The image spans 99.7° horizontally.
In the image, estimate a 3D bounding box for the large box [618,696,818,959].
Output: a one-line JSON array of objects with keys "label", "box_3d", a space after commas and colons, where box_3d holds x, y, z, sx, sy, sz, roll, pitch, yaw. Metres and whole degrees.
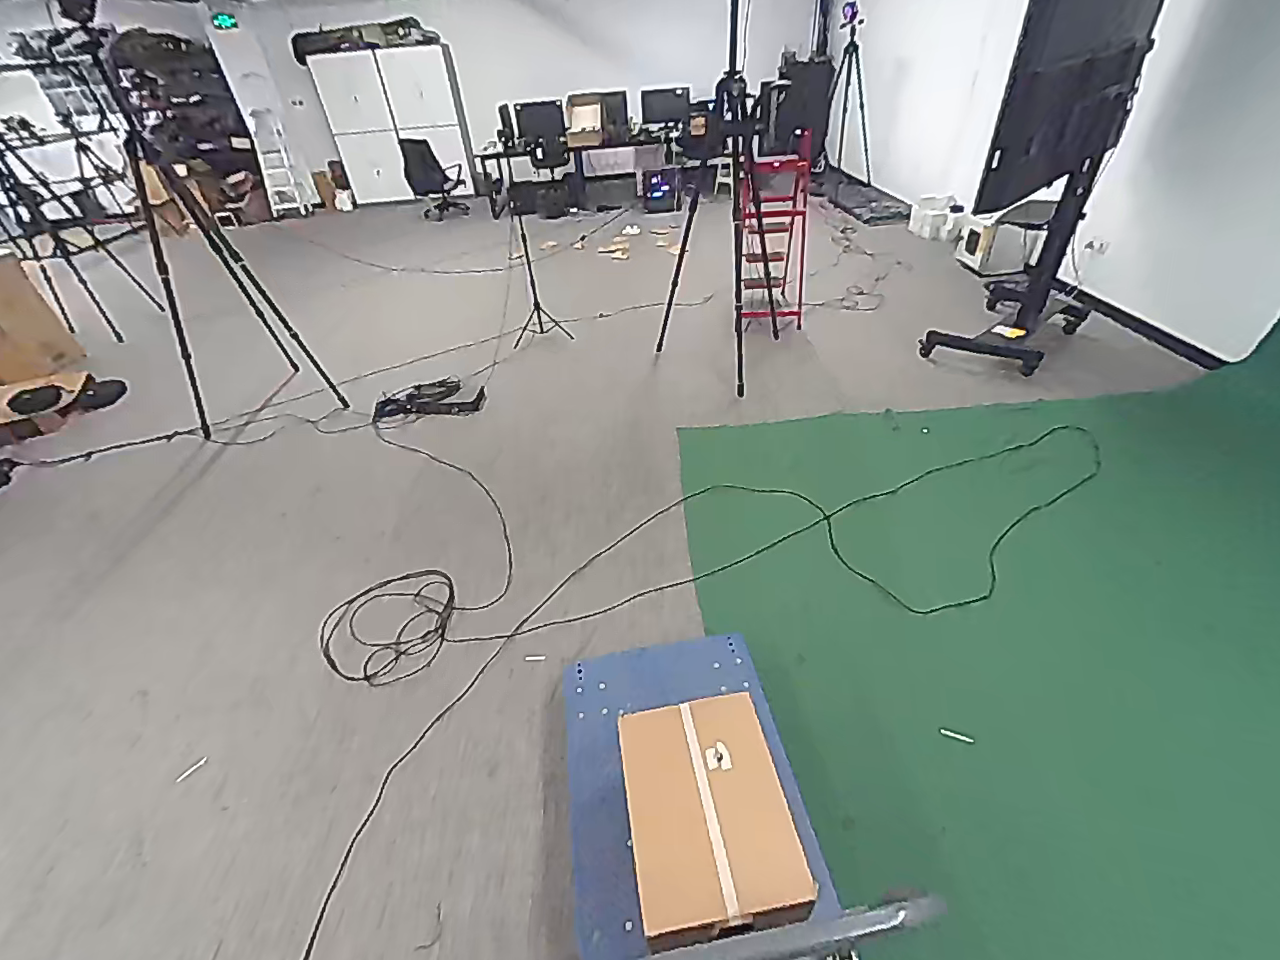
[{"label": "large box", "box_3d": [0.146, 0.762, 1.178, 0.320, 0.320, 0.408, -9, 37, -5]}]
